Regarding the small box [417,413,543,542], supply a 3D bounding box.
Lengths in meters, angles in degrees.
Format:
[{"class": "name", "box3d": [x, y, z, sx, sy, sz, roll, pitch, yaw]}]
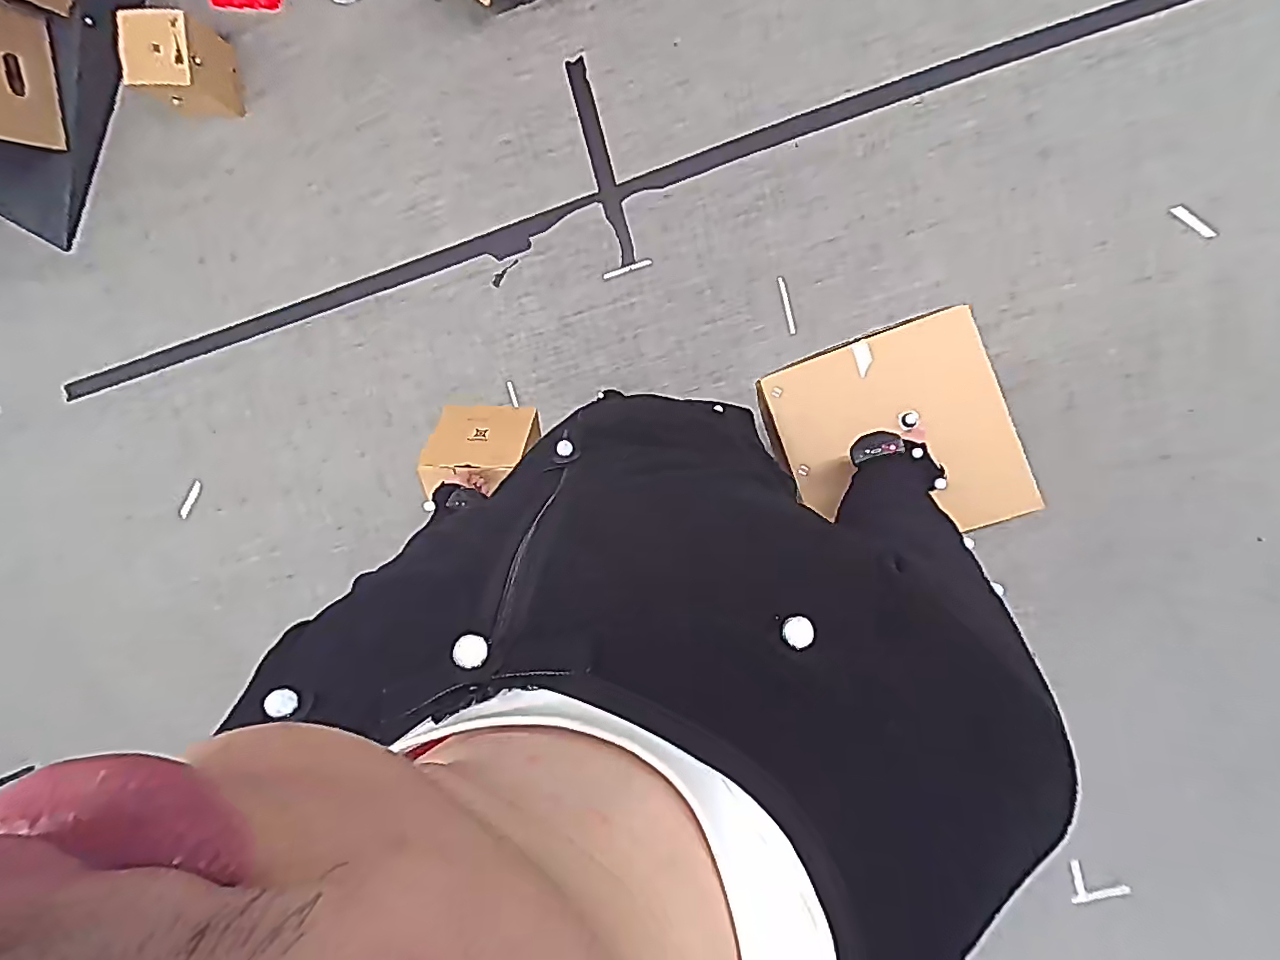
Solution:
[{"class": "small box", "box3d": [-0.275, -0.004, 0.979, 0.168, 0.179, 0.176, 2, 129, 1]}]
